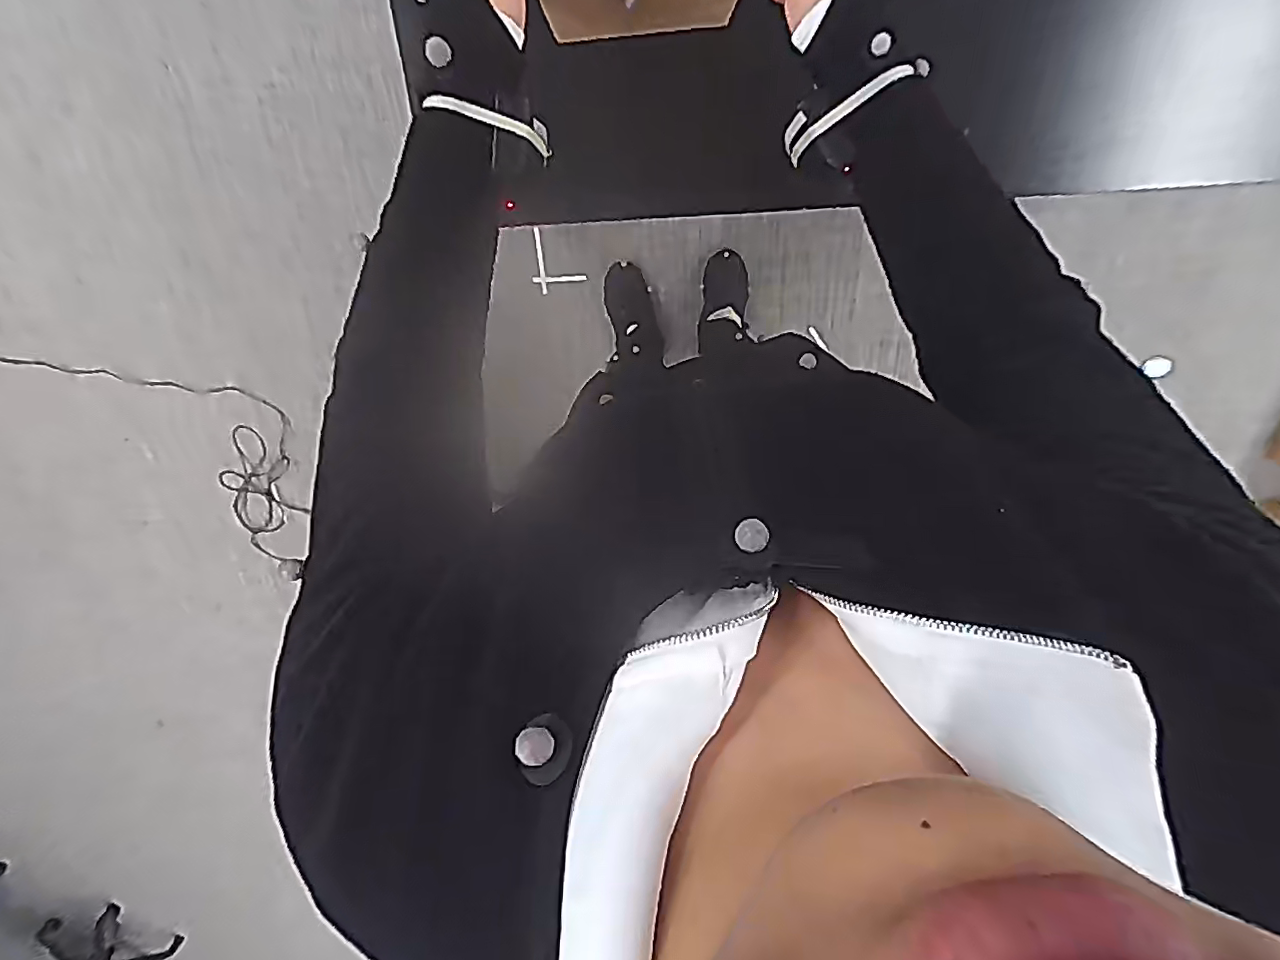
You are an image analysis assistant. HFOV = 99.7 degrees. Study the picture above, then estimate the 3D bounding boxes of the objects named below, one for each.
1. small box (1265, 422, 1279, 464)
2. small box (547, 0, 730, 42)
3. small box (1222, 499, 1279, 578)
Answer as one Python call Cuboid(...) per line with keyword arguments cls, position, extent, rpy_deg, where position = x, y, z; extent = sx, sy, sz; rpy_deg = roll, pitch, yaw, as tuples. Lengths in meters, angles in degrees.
Cuboid(cls="small box", position=(1.834, -0.103, 1.421), extent=(0.168, 0.176, 0.179), rpy_deg=(-1, 116, 1))
Cuboid(cls="small box", position=(-0.004, -0.496, 0.452), extent=(0.179, 0.176, 0.168), rpy_deg=(-5, 115, 2))
Cuboid(cls="small box", position=(1.859, 0.164, 1.553), extent=(0.179, 0.176, 0.168), rpy_deg=(-4, 116, 4))
